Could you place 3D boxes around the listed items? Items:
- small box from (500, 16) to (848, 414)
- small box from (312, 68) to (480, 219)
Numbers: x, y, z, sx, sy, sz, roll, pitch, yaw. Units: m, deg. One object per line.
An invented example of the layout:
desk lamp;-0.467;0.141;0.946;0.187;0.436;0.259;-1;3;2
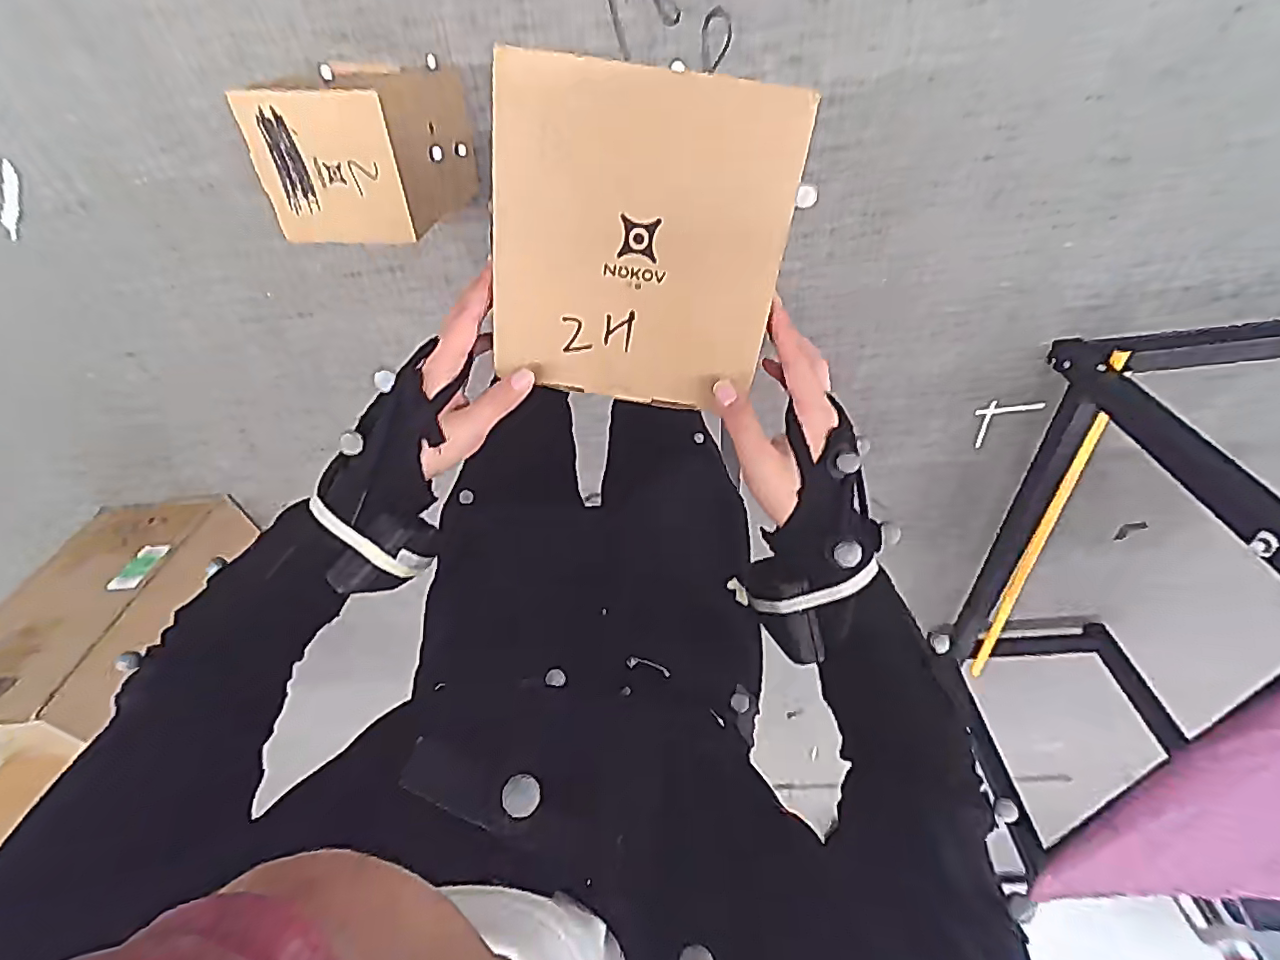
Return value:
small box;0.013;-0.167;0.364;0.168;0.176;0.179;10;119;1
small box;-0.360;-0.523;0.837;0.168;0.176;0.179;1;133;1
